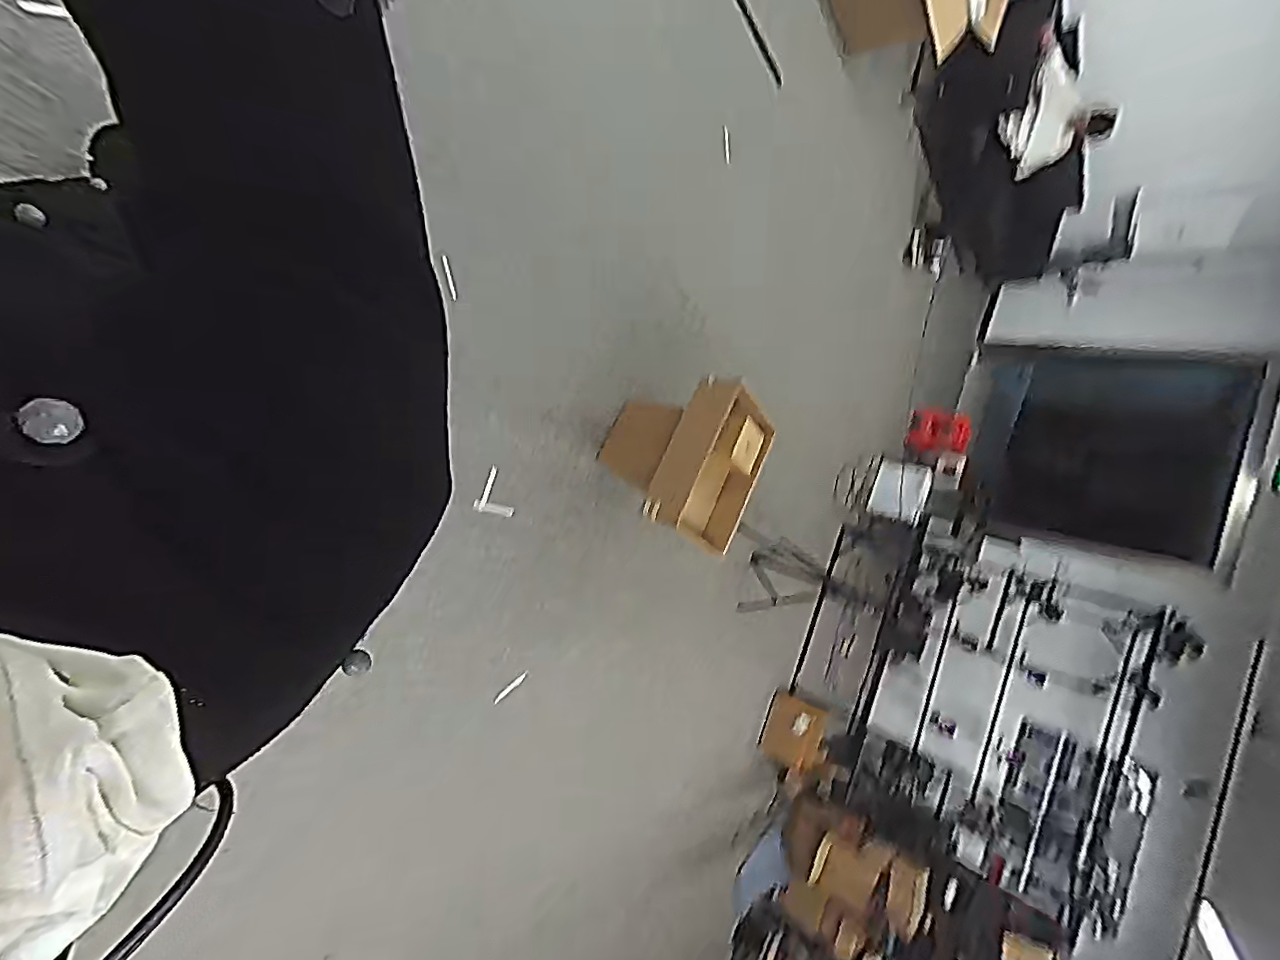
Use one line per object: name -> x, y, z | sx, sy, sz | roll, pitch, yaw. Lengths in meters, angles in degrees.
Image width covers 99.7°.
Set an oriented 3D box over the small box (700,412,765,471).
small box -> 0.361, -0.155, 2.131 | 0.179, 0.176, 0.168 | 35, 76, -49
